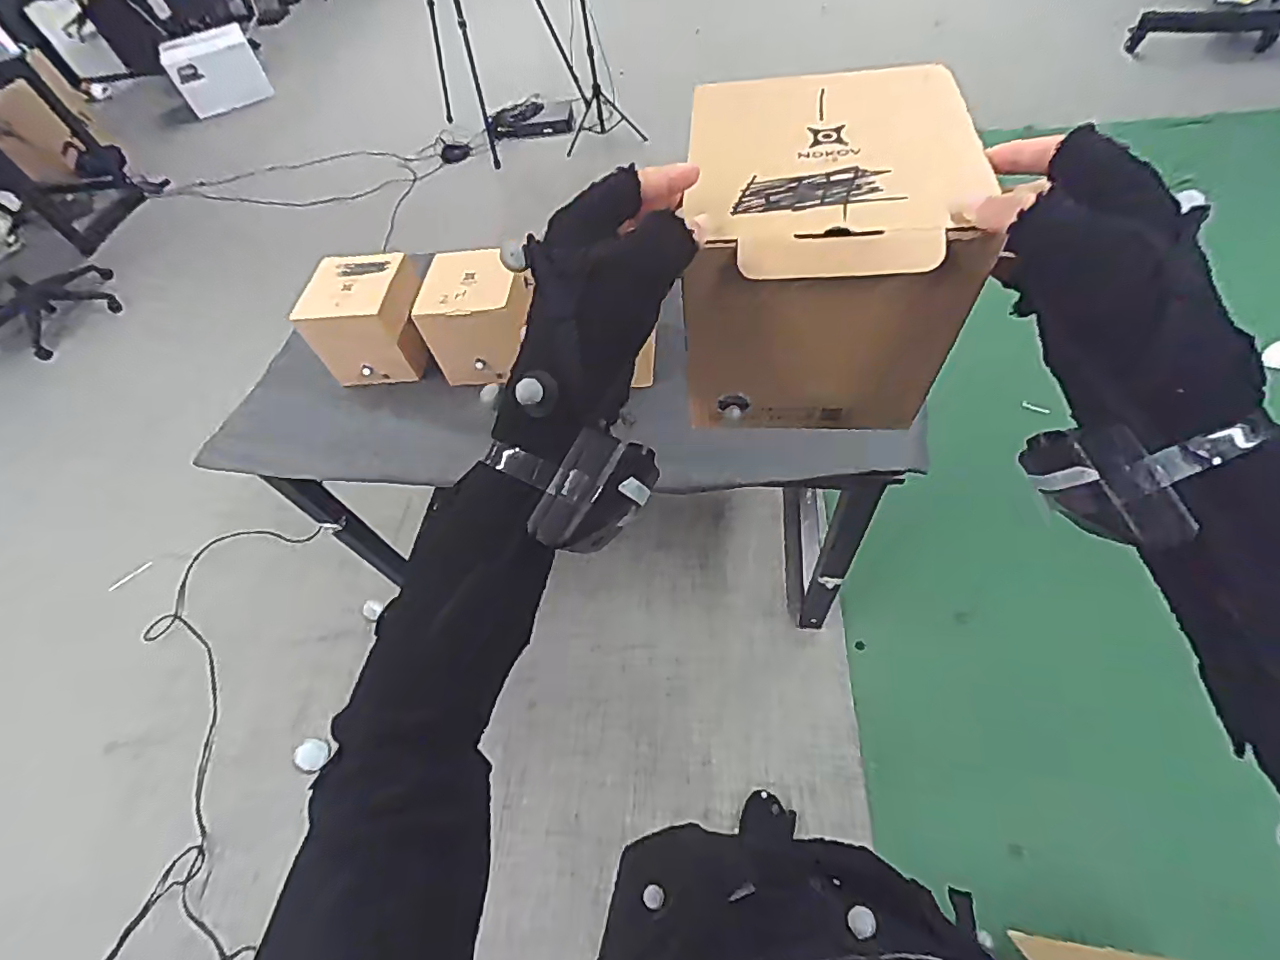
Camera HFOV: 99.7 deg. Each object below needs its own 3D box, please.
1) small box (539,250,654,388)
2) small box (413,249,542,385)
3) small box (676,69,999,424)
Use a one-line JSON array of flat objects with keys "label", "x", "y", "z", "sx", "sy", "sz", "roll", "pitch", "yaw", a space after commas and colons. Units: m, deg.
[{"label": "small box", "x": -0.065, "y": -0.275, "z": 0.956, "sx": 0.168, "sy": 0.176, "sz": 0.179, "roll": -1, "pitch": 56, "yaw": 7}, {"label": "small box", "x": -0.285, "y": -0.298, "z": 0.998, "sx": 0.168, "sy": 0.176, "sz": 0.179, "roll": -2, "pitch": 56, "yaw": 7}, {"label": "small box", "x": 0.119, "y": -0.155, "z": 0.392, "sx": 0.168, "sy": 0.176, "sz": 0.179, "roll": 2, "pitch": 59, "yaw": 8}]
